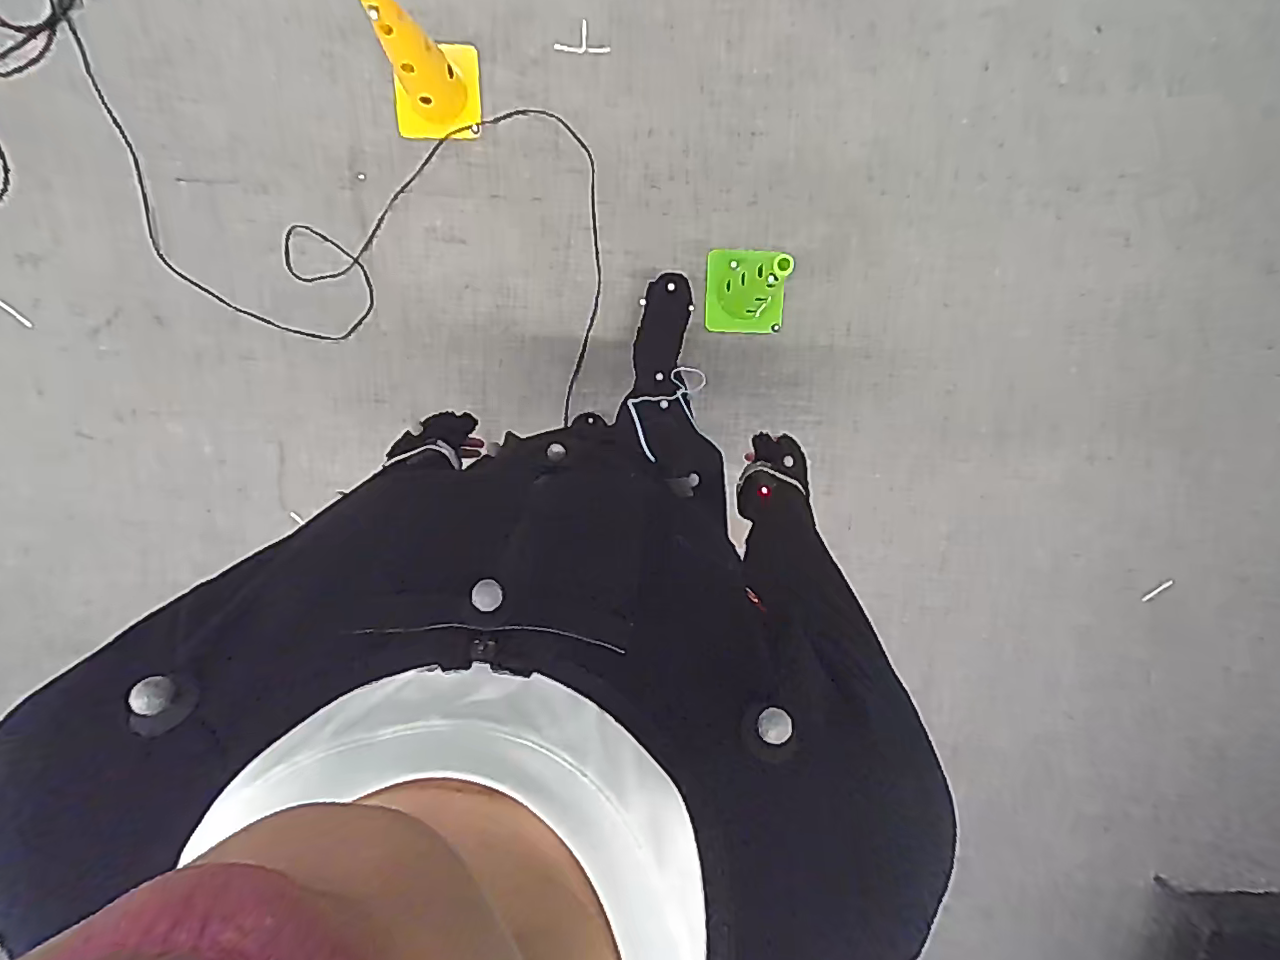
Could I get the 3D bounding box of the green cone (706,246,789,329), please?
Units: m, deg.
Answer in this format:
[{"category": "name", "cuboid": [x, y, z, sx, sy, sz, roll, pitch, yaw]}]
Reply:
[{"category": "green cone", "cuboid": [0.271, -0.458, 1.210, 0.202, 0.368, 0.200, 1, 100, 0]}]
